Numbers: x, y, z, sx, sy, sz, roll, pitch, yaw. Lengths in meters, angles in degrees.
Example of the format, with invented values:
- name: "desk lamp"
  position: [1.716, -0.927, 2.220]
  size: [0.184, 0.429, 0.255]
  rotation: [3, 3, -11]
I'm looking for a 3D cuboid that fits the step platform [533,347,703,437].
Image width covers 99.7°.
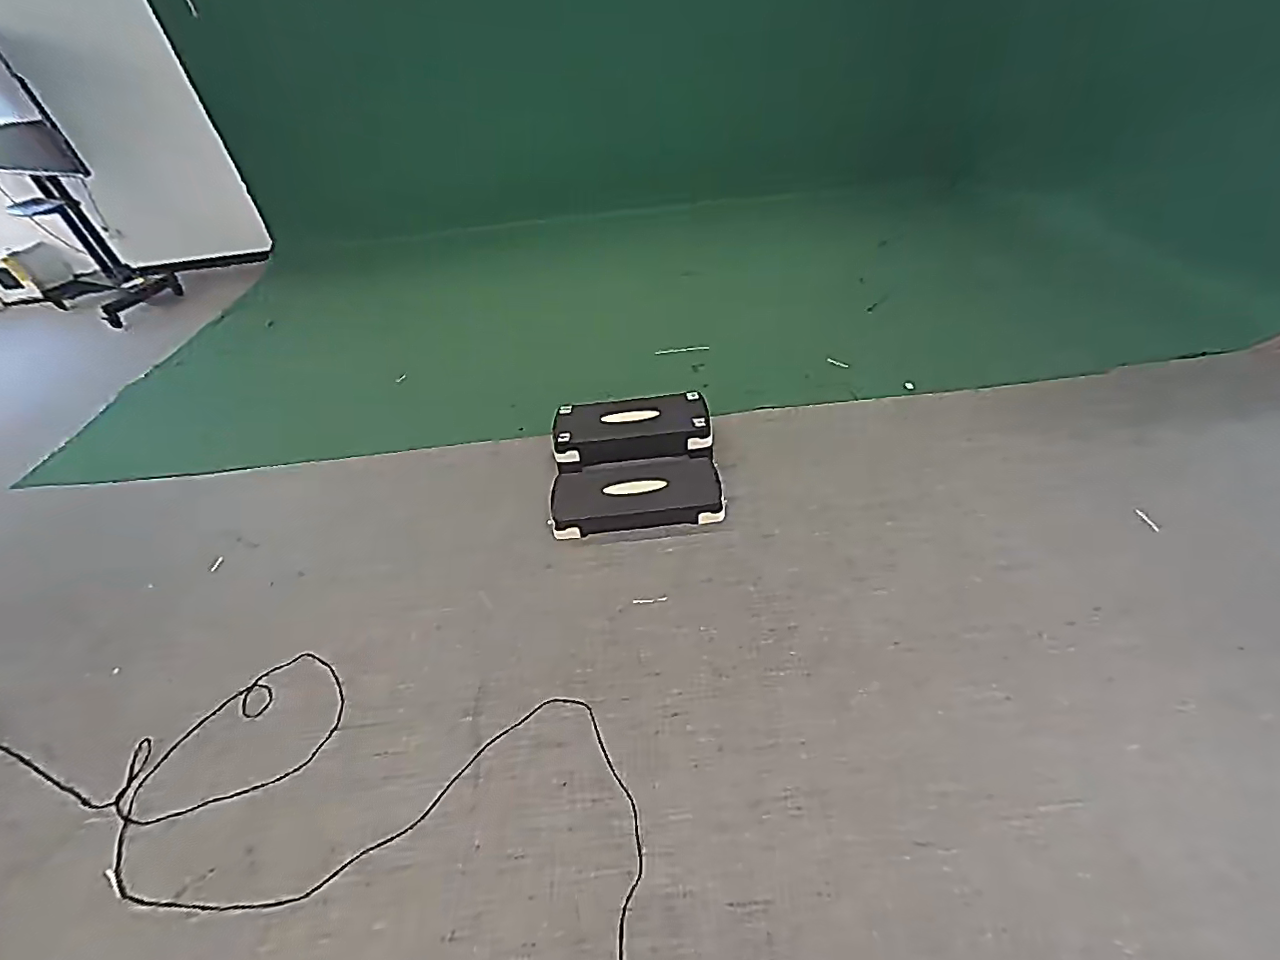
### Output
- name: "step platform"
  position: [-0.084, -0.364, 2.233]
  size: [0.684, 0.204, 0.286]
  rotation: [-7, 43, 1]
